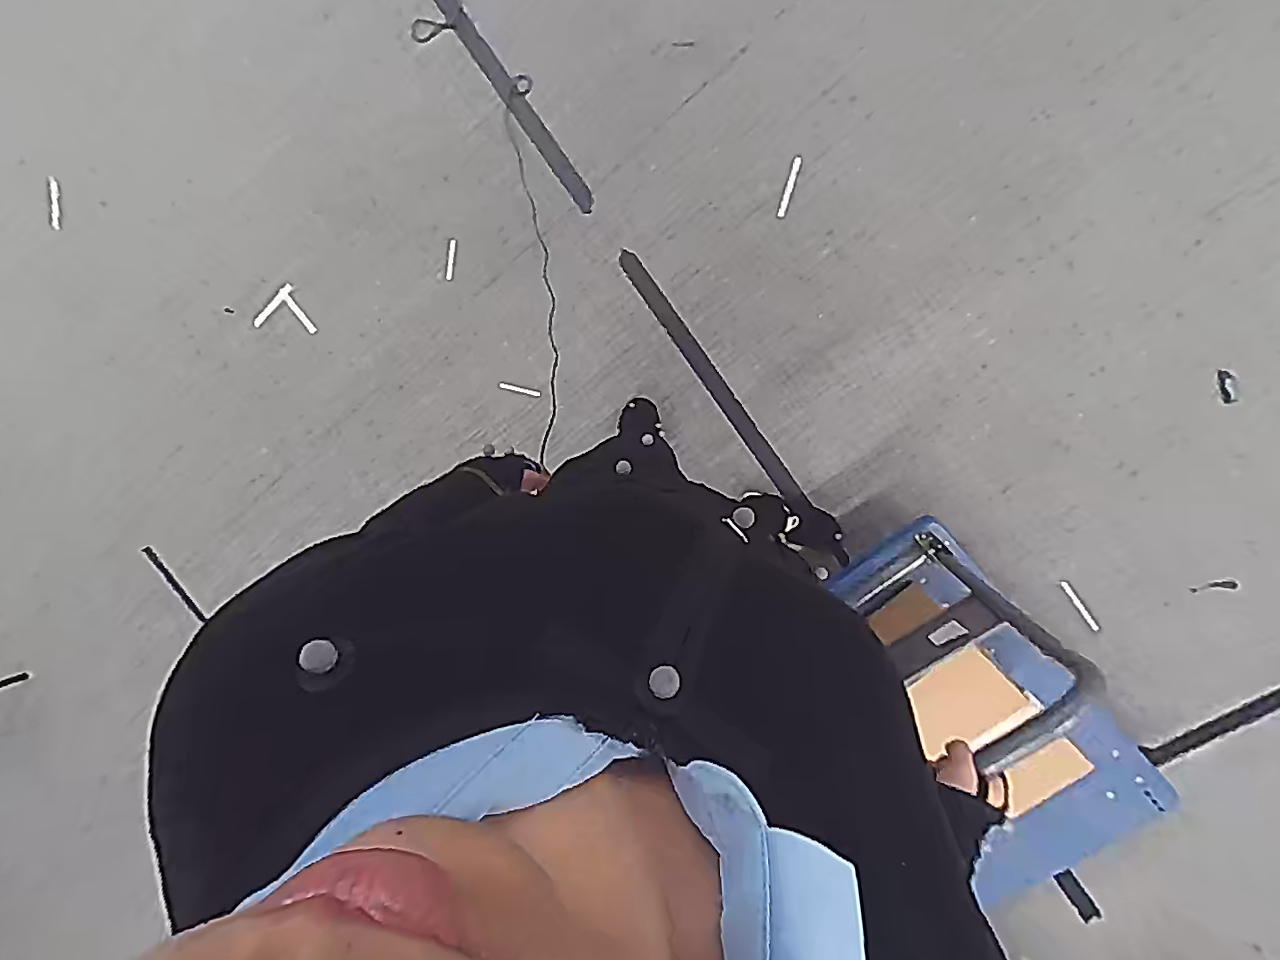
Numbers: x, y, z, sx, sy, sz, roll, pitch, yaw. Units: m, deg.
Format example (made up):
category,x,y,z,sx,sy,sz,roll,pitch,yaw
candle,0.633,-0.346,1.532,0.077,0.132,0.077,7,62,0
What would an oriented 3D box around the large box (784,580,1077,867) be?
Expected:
category,x,y,z,sx,sy,sz,roll,pitch,yaw
large box,0.569,0.492,1.154,0.320,0.320,0.408,45,105,1
